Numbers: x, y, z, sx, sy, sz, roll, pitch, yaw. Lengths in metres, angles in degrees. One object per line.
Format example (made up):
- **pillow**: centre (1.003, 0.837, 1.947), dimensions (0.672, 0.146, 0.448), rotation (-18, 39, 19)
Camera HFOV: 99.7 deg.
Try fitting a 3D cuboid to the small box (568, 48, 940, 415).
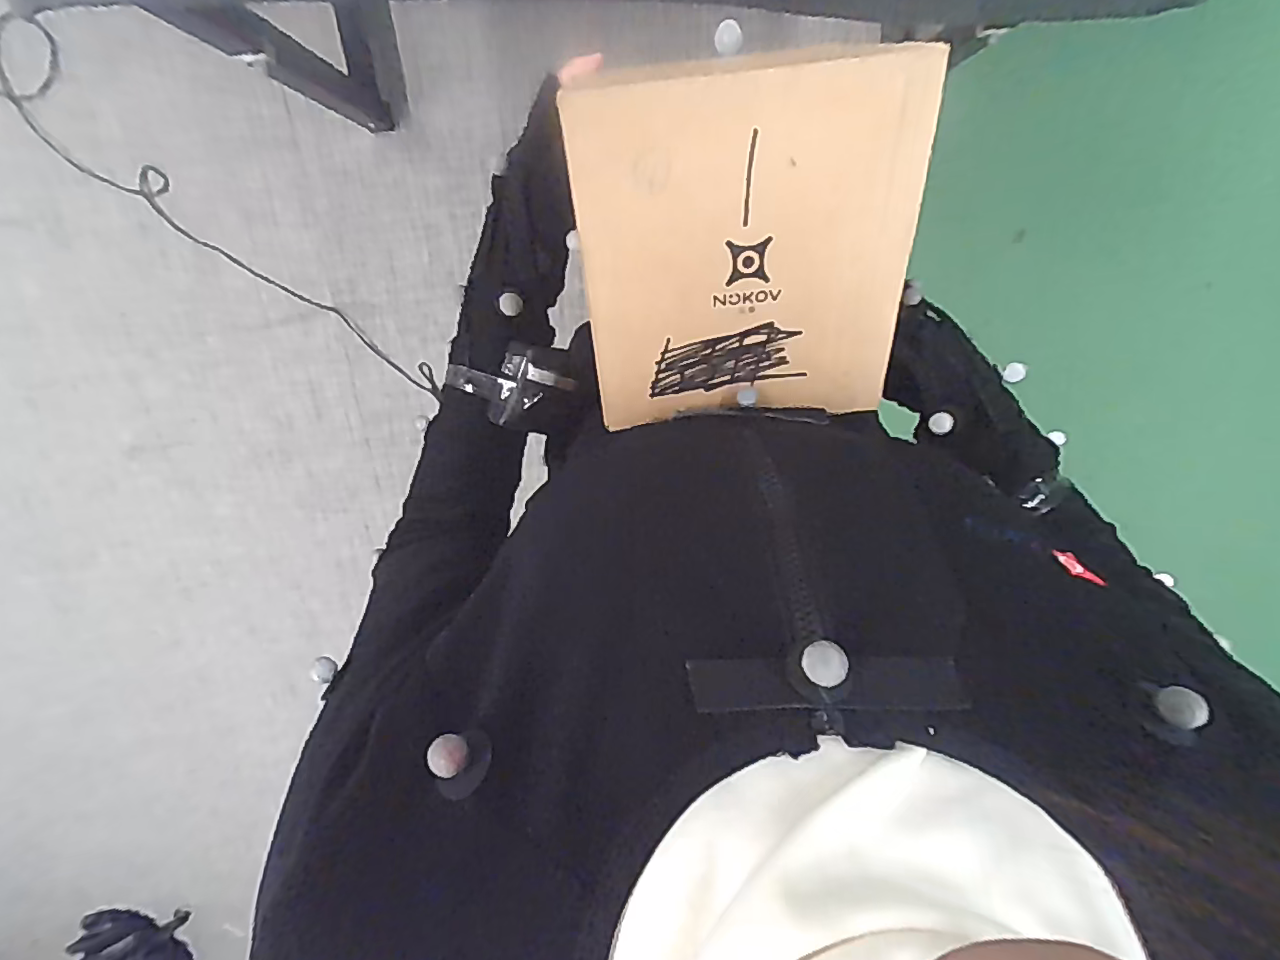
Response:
- **small box**: centre (0.054, -0.162, 0.349), dimensions (0.168, 0.176, 0.179), rotation (-3, 128, 2)
